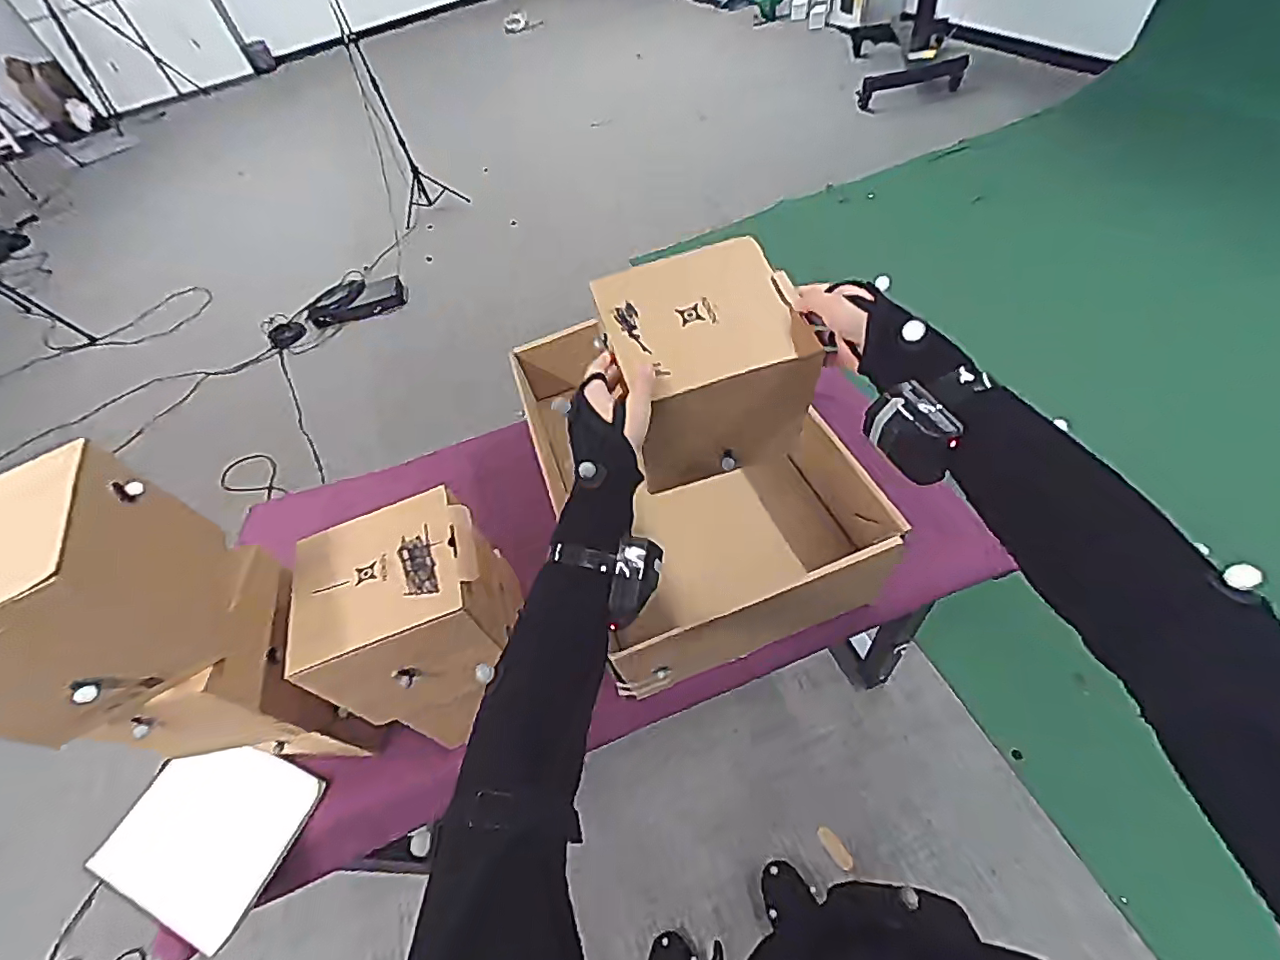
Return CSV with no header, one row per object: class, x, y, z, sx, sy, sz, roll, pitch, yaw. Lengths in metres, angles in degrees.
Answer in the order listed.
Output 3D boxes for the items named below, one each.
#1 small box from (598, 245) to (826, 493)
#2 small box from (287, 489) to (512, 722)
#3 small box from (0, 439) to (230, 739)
small box,0.066,-0.110,0.575,0.179,0.176,0.168,-17,59,-4
small box,-0.258,0.145,0.616,0.179,0.176,0.168,-21,50,-6
small box,-0.517,0.102,0.495,0.168,0.176,0.179,-30,53,-10
